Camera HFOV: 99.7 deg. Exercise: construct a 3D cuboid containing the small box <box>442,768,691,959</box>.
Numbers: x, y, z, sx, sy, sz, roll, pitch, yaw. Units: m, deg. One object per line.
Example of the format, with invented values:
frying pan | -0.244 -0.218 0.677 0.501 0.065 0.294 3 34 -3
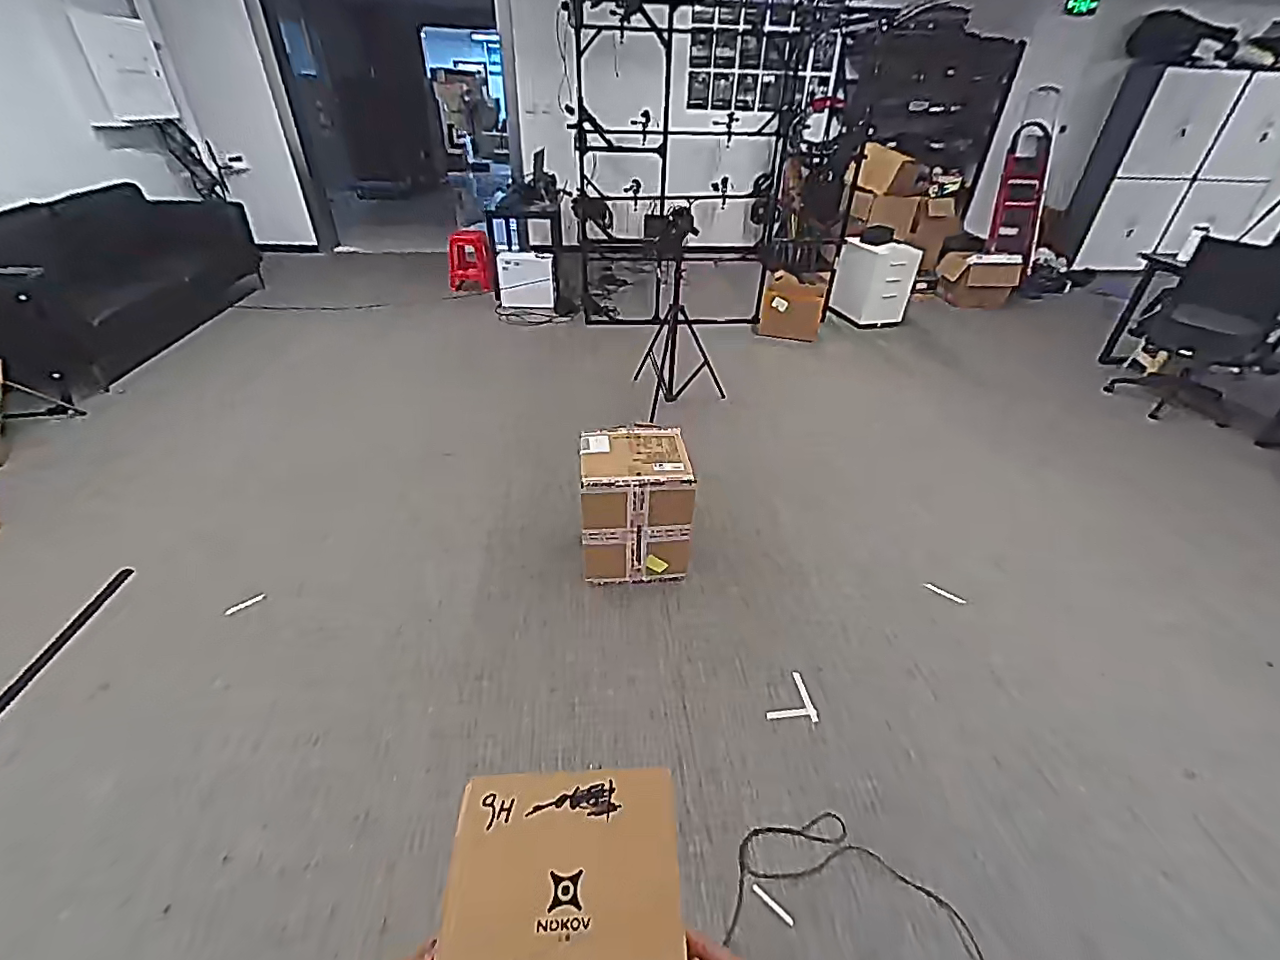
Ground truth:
small box | -0.047 0.350 0.424 0.168 0.176 0.179 -2 44 -2
